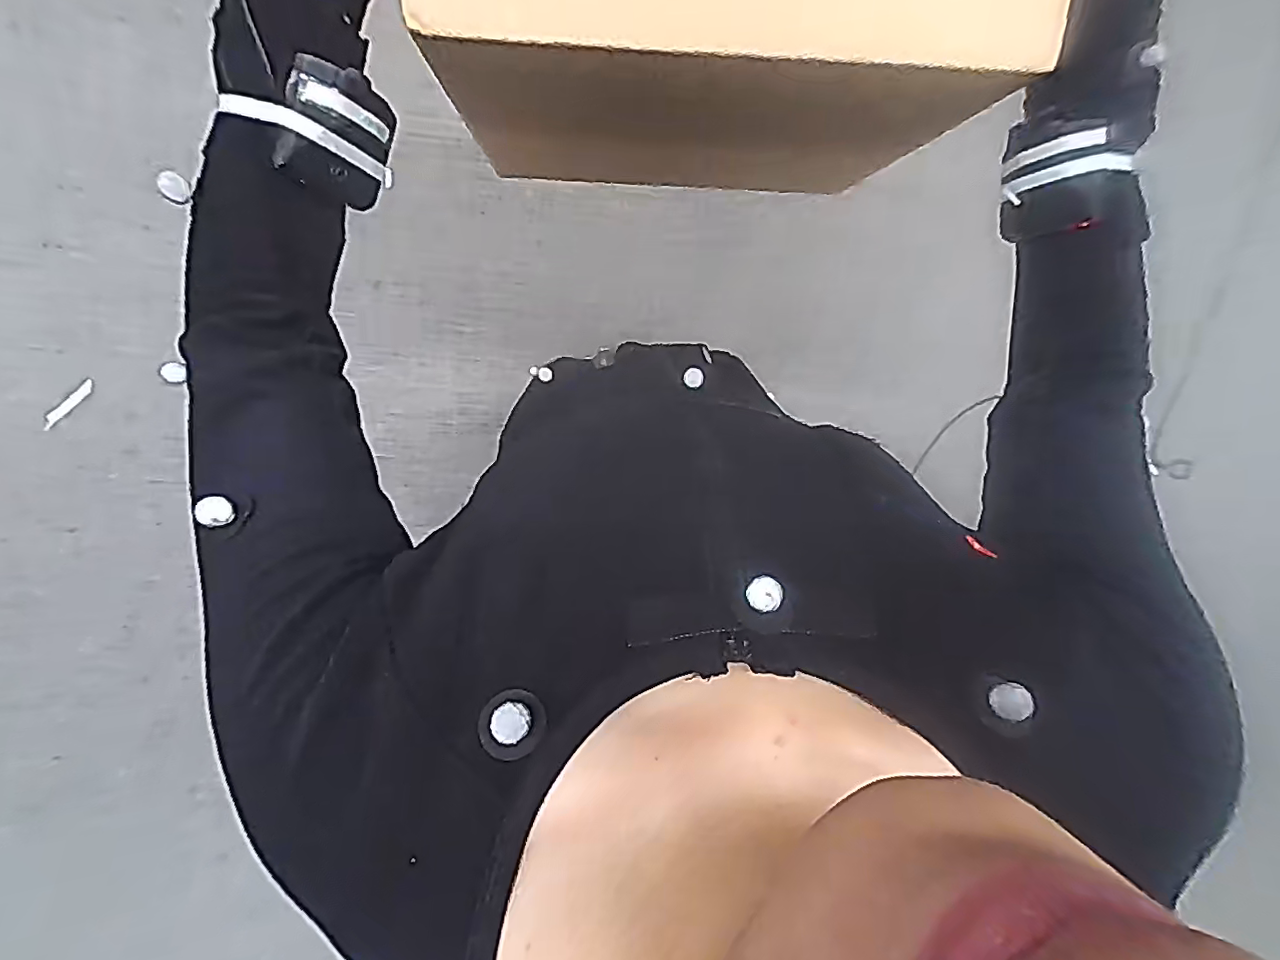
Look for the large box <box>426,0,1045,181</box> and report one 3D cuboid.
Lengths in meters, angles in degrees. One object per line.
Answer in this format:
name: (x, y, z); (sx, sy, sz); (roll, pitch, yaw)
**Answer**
large box: (0.053, -0.461, 0.448); (0.408, 0.320, 0.320); (-1, 106, -5)
